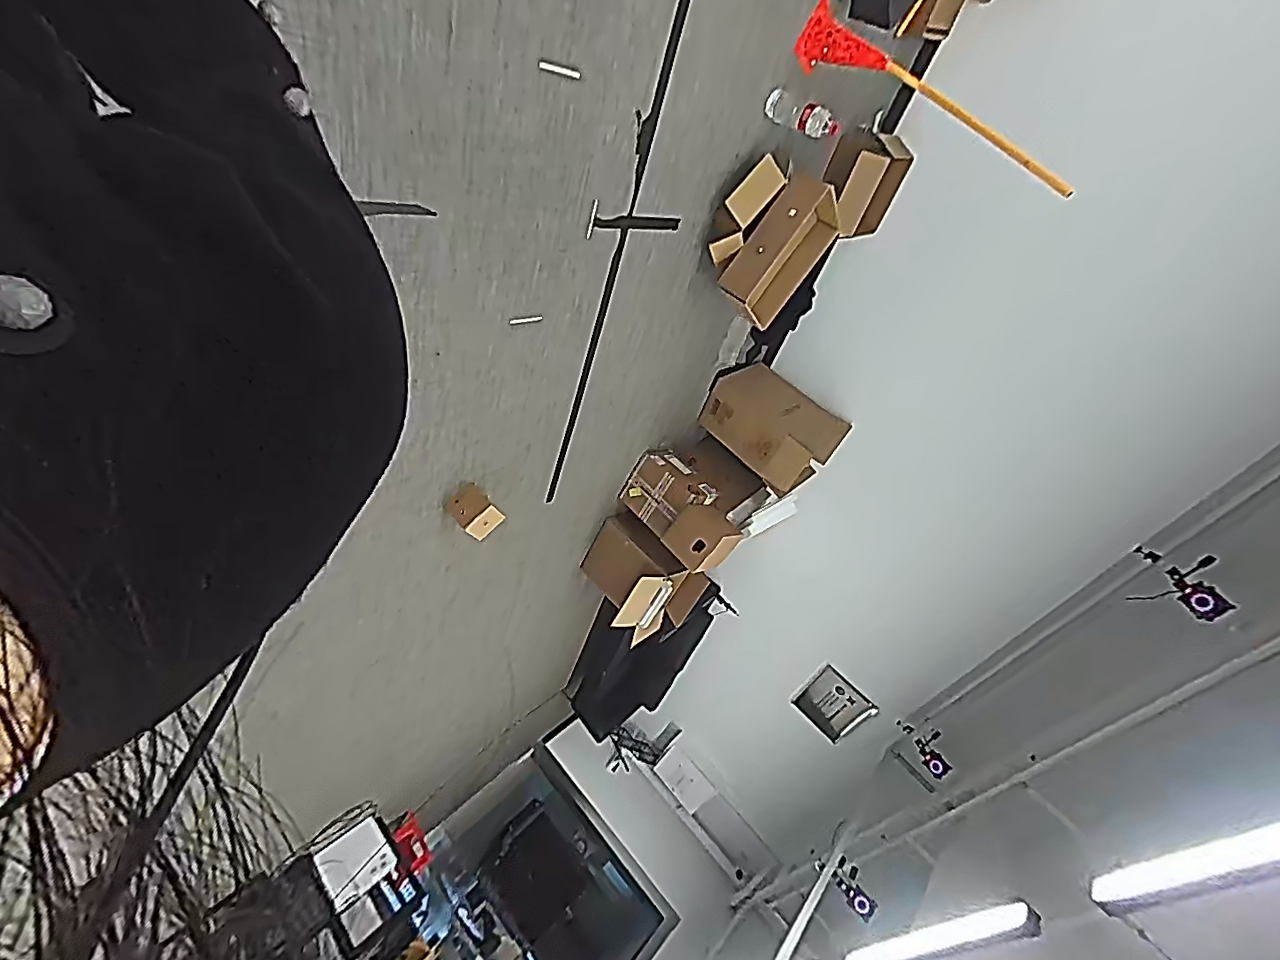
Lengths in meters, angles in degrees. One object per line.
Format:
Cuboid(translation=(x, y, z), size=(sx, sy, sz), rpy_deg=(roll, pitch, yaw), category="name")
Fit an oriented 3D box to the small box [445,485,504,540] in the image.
Cuboid(translation=(-0.773, 0.149, 2.518), size=(0.168, 0.176, 0.179), rpy_deg=(-44, 158, -9), category="small box")
